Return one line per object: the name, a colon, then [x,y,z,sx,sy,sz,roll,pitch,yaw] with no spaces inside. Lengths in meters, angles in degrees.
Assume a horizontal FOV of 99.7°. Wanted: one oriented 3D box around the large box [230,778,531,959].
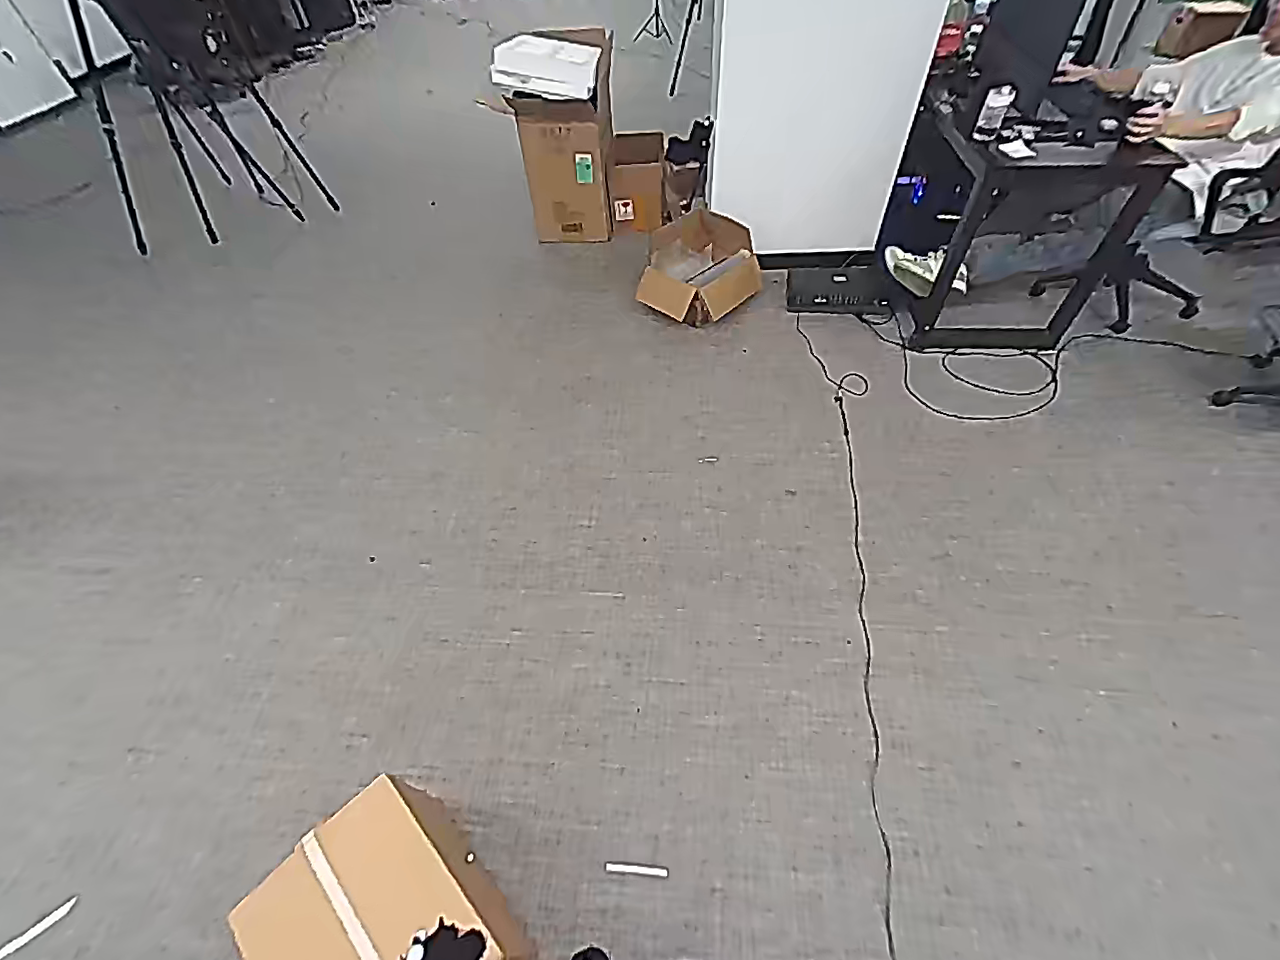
large box: [-0.476,0.877,1.048,0.408,0.320,0.320,36,61,27]
